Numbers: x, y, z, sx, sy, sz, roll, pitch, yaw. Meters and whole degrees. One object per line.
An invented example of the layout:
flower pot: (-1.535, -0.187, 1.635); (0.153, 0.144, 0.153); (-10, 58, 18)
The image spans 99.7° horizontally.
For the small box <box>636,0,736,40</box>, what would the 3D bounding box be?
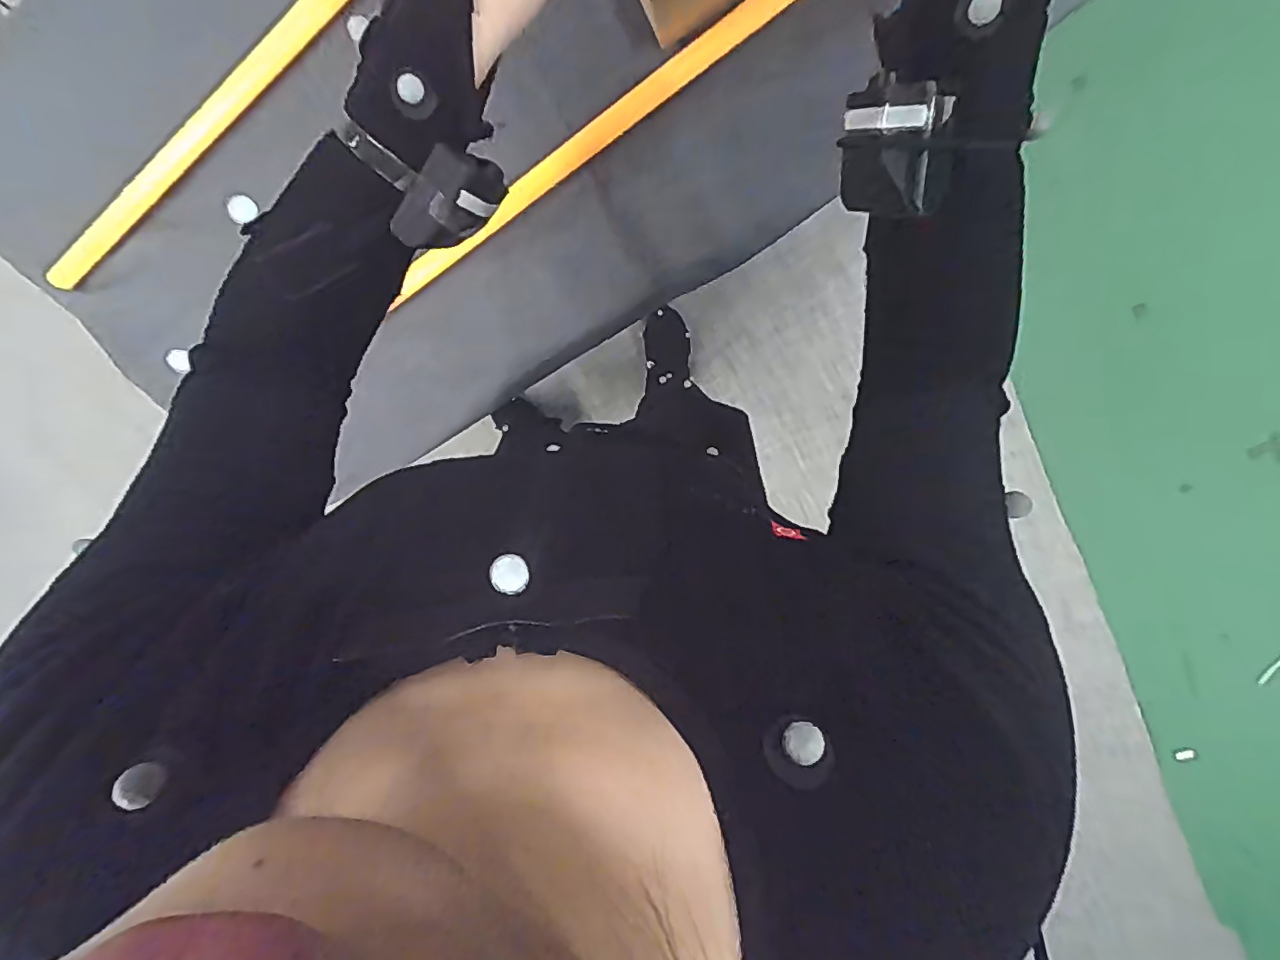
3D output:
small box: (0.044, -0.488, 0.418); (0.168, 0.176, 0.179); (-24, 109, 17)
